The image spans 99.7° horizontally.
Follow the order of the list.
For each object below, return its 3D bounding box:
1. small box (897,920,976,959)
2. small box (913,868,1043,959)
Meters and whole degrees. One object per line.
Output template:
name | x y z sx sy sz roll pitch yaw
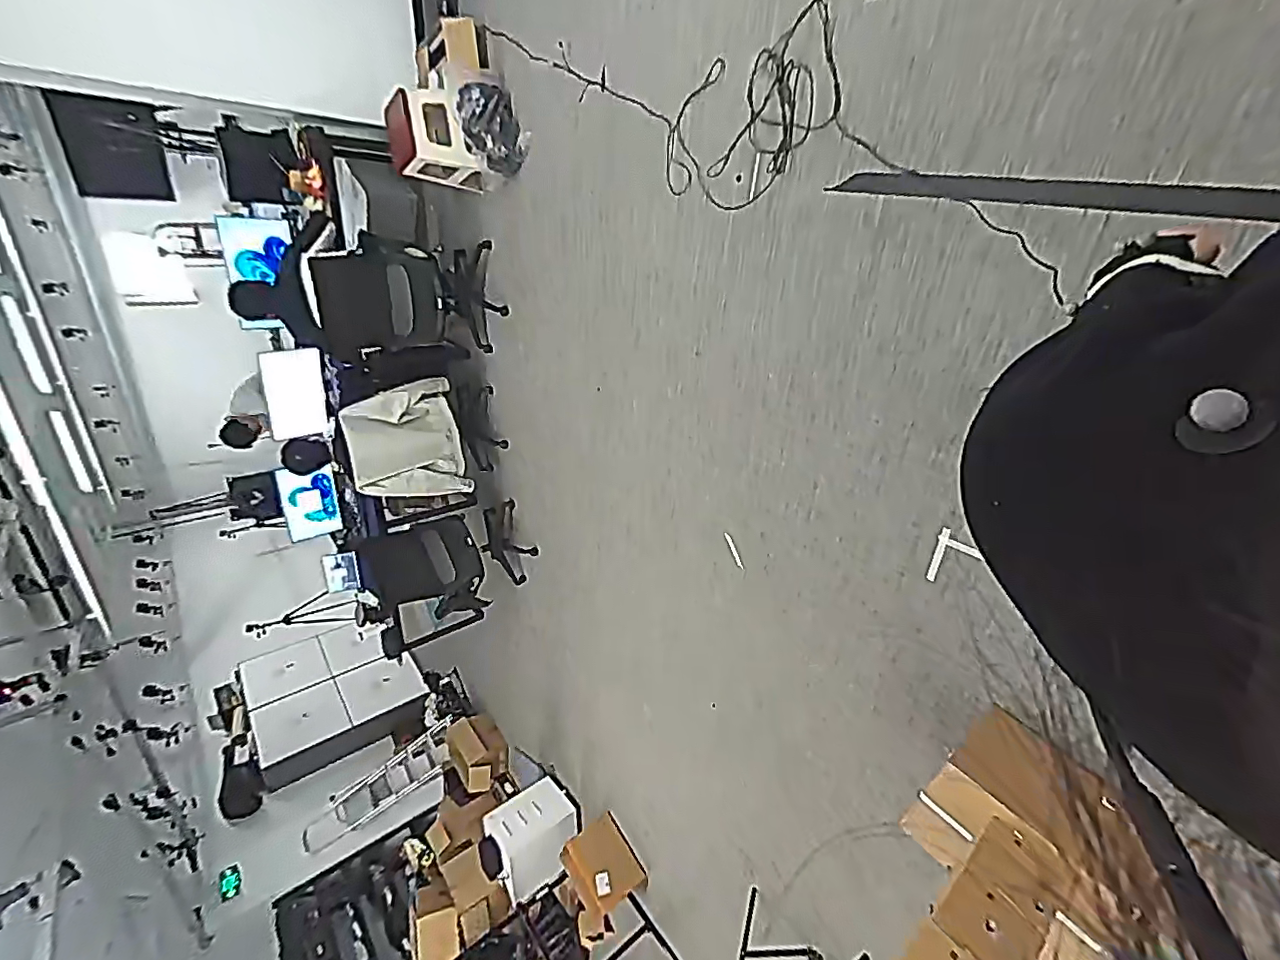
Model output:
small box | 0.567 0.995 1.022 0.168 0.176 0.179 35 130 40
small box | 0.693 0.960 1.119 0.168 0.176 0.179 37 130 38
